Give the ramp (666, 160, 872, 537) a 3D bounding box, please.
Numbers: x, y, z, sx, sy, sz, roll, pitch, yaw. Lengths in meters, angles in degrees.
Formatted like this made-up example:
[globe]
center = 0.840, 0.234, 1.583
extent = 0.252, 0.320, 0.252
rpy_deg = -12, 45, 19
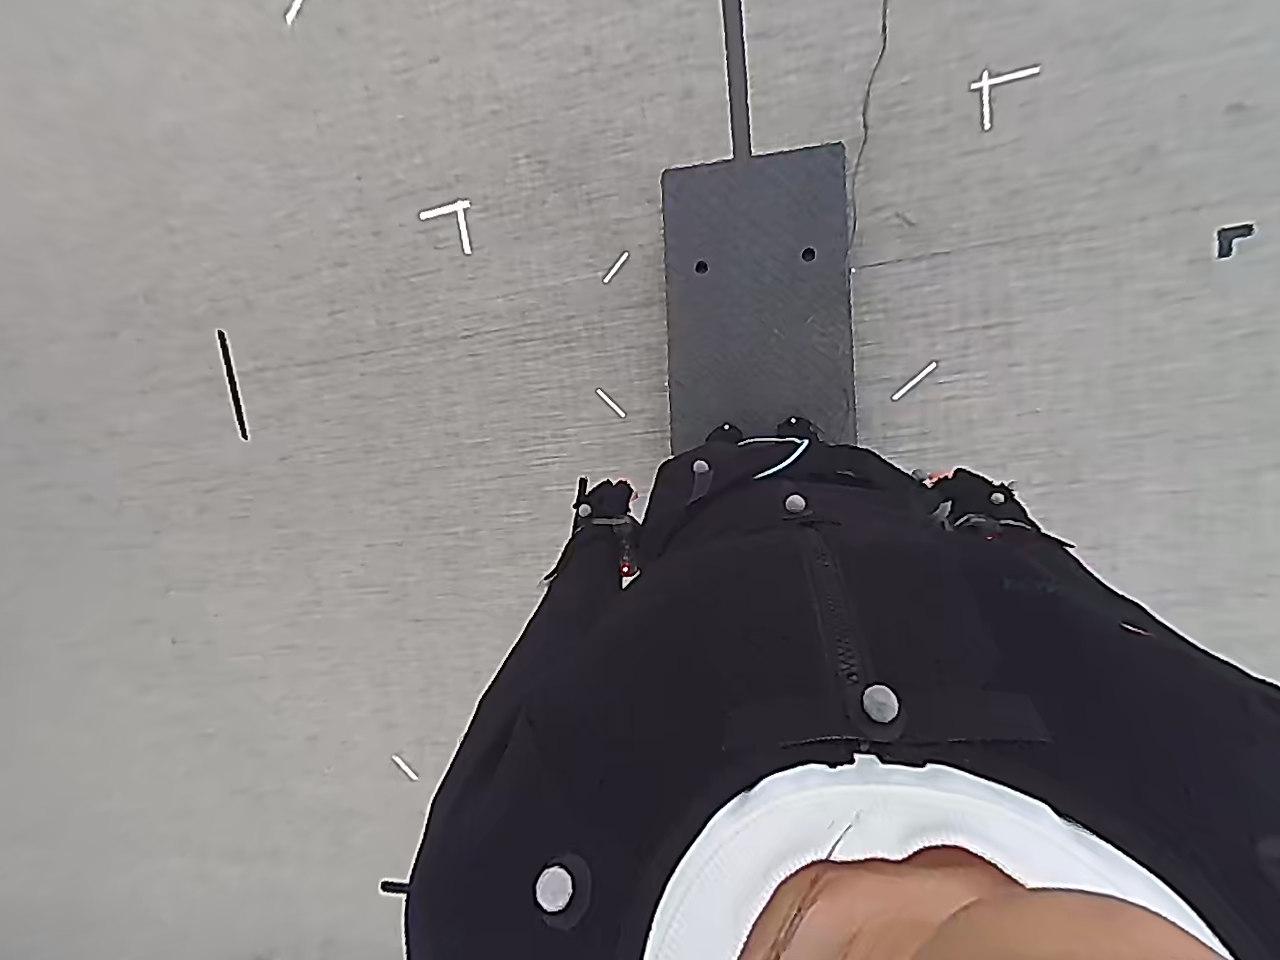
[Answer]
[ramp]
center = 0.334, -0.351, 1.478
extent = 0.509, 0.206, 0.991
rpy_deg = -5, 95, 14
